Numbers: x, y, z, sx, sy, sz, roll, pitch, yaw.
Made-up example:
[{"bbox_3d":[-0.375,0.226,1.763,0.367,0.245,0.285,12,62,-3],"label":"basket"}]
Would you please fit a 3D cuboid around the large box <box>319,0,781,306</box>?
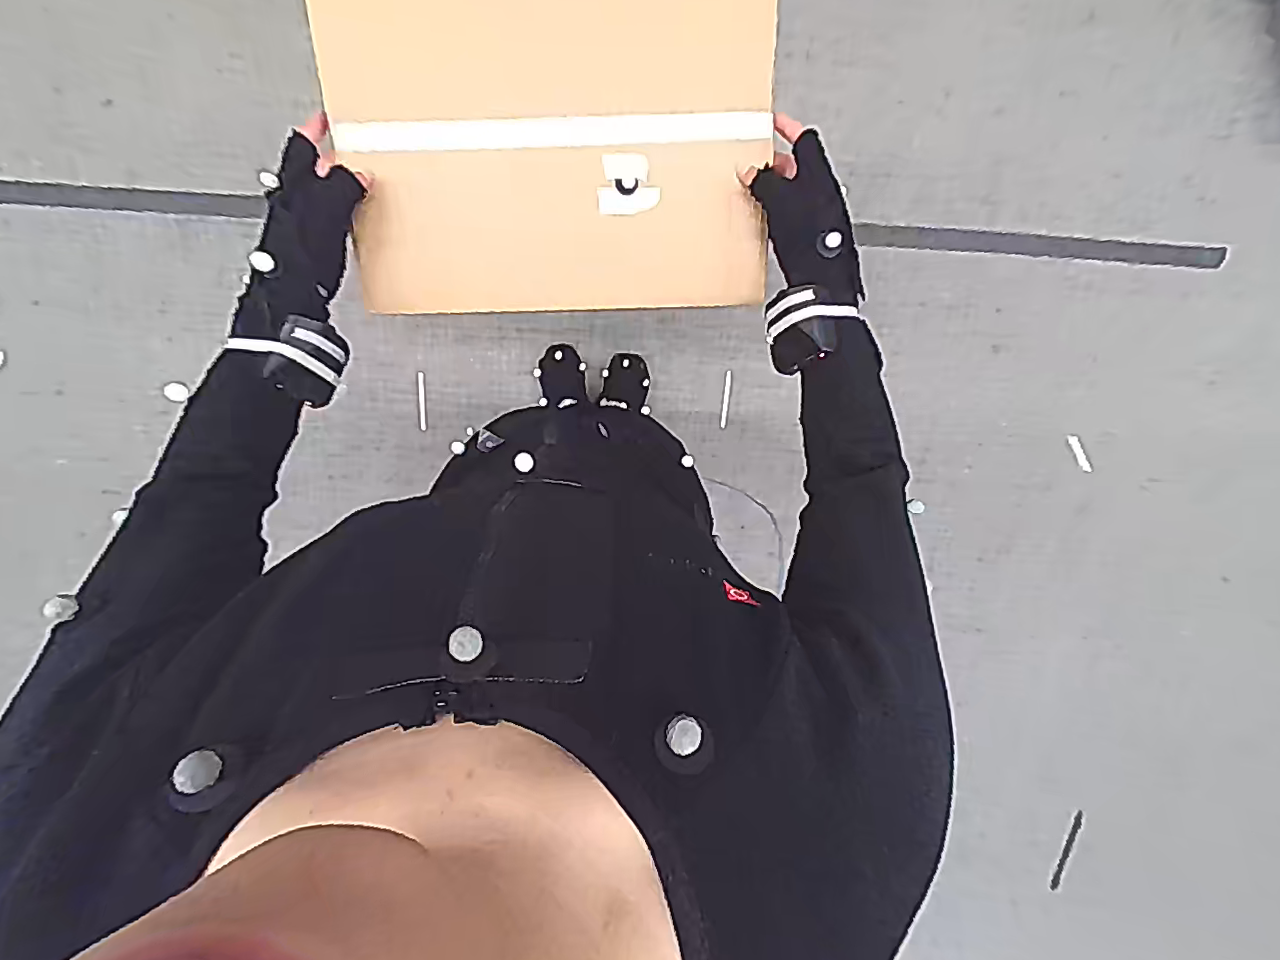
[{"bbox_3d":[-0.078,-0.378,0.632,0.408,0.320,0.320,-2,110,-1],"label":"large box"}]
